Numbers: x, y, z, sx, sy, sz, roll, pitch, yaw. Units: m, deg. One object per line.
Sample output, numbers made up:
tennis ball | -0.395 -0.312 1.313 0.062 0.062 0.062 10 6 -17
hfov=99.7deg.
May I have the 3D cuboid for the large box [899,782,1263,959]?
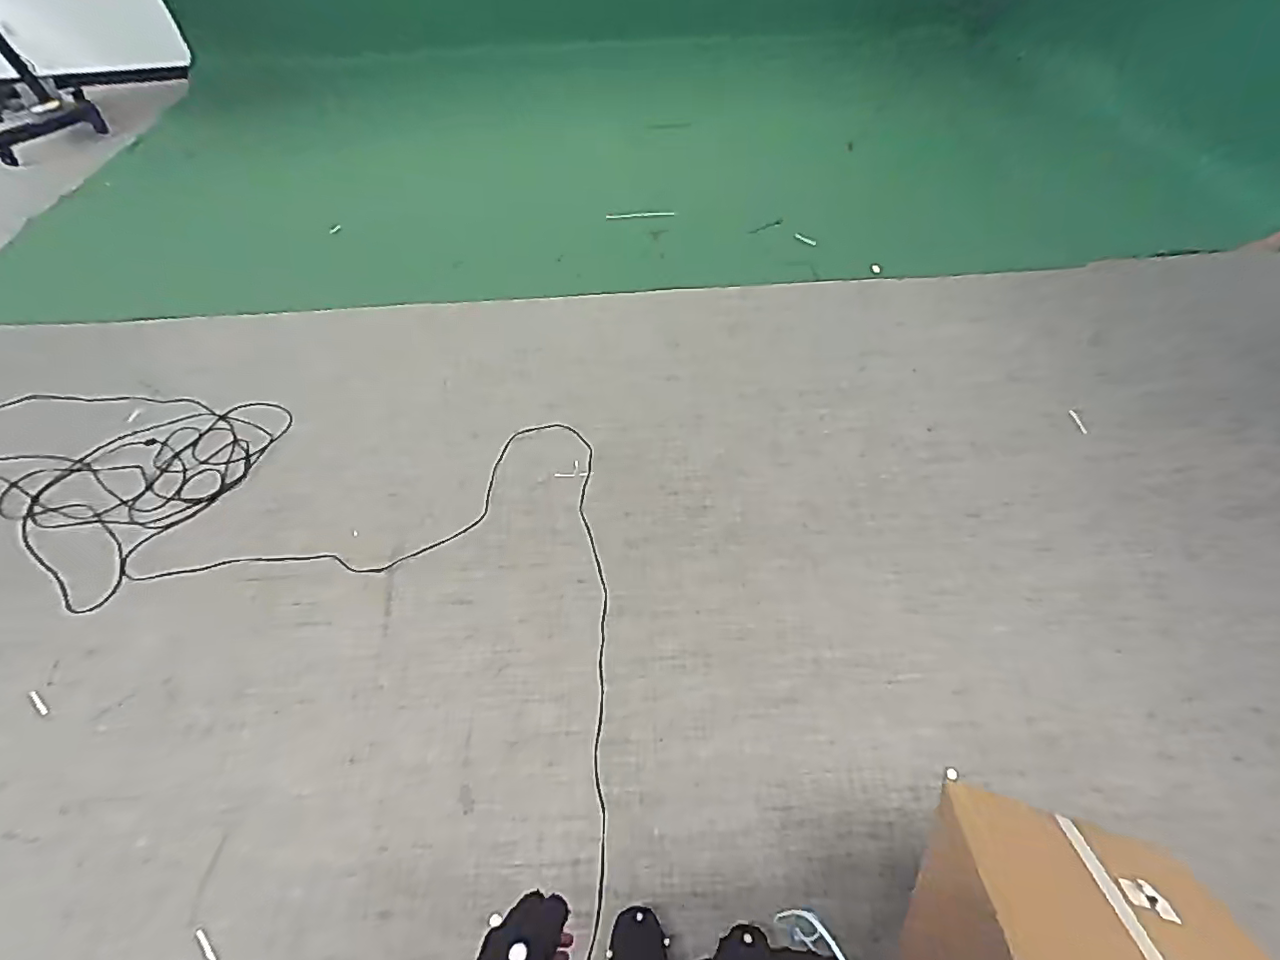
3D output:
large box | 0.535 0.666 0.642 0.320 0.408 0.320 14 98 16
